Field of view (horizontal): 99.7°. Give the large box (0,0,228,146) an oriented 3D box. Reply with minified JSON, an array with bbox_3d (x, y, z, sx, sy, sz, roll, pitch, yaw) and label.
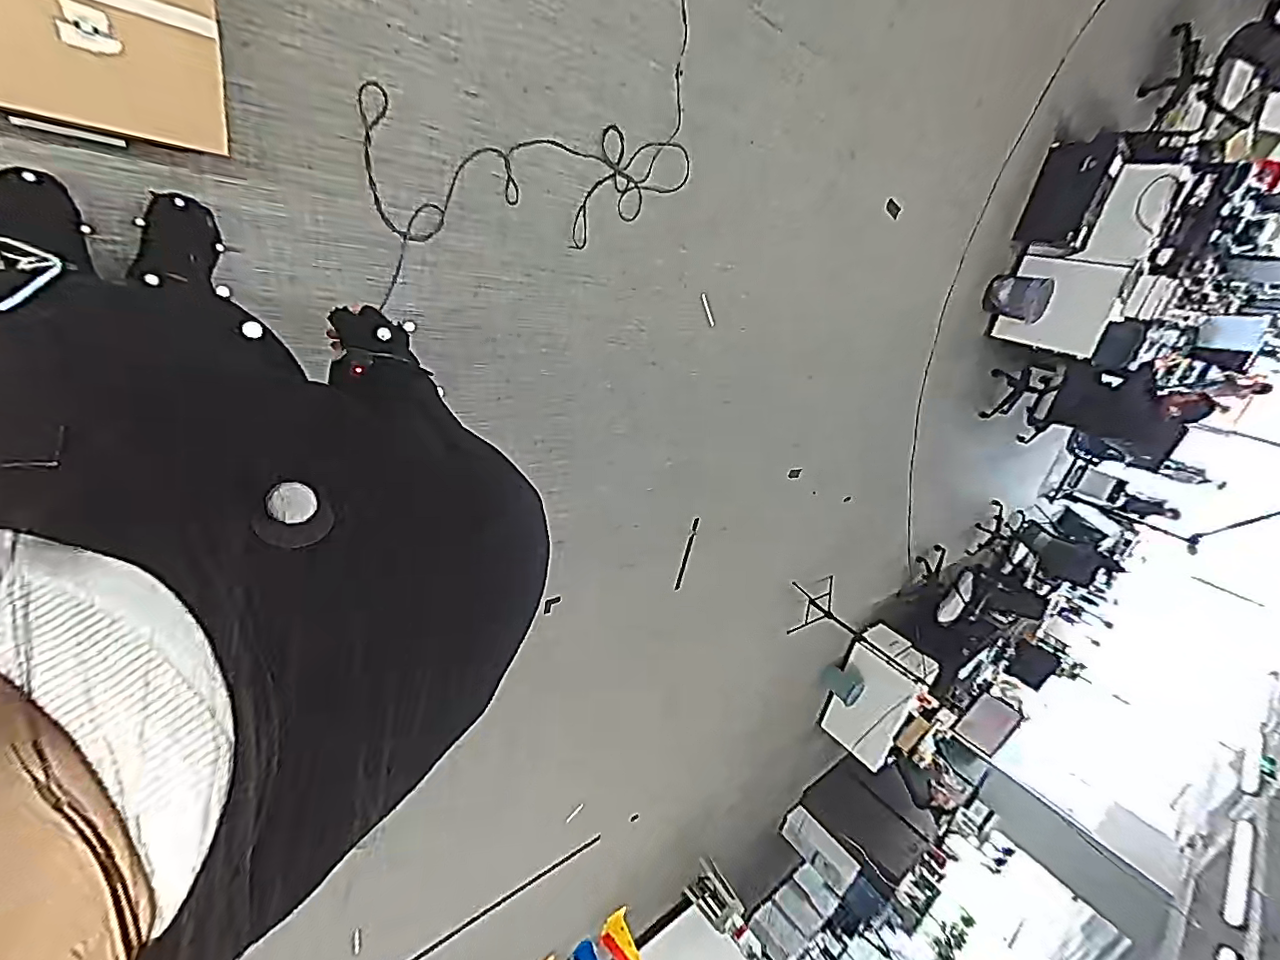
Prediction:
[{"bbox_3d":[-0.843,-0.680,0.734,0.408,0.320,0.320,-9,121,-40],"label":"large box"}]

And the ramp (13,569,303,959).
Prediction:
[{"bbox_3d":[-1.178,0.730,1.395,0.509,0.206,0.991,-7,119,-39],"label":"ramp"}]
